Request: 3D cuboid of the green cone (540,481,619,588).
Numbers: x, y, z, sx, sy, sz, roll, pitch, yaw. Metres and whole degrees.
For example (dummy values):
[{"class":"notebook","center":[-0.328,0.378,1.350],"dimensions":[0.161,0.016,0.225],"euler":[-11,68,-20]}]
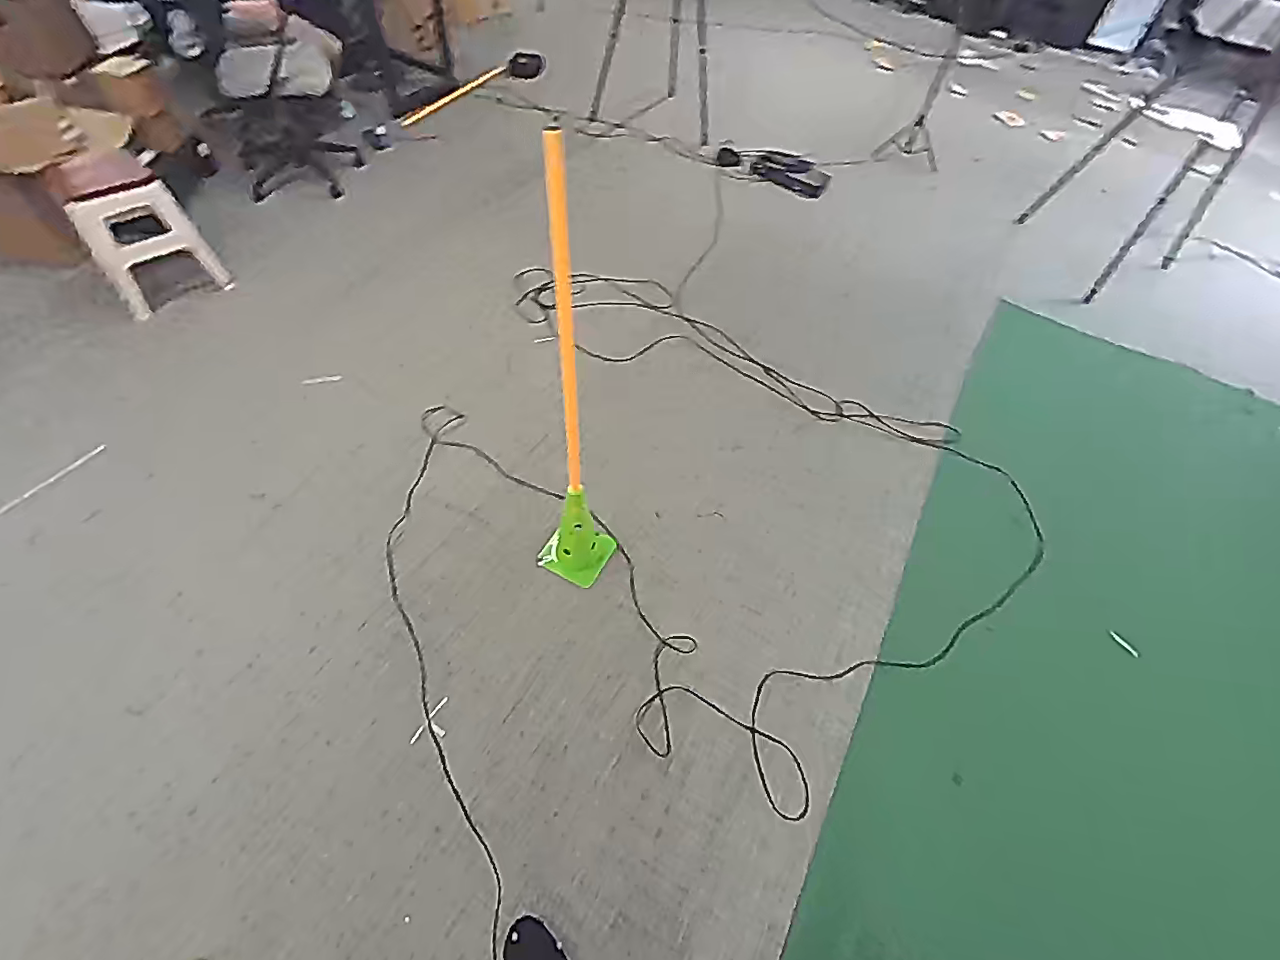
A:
[{"class":"green cone","center":[-0.177,0.130,1.604],"dimensions":[0.200,0.368,0.202],"euler":[25,54,12]}]
